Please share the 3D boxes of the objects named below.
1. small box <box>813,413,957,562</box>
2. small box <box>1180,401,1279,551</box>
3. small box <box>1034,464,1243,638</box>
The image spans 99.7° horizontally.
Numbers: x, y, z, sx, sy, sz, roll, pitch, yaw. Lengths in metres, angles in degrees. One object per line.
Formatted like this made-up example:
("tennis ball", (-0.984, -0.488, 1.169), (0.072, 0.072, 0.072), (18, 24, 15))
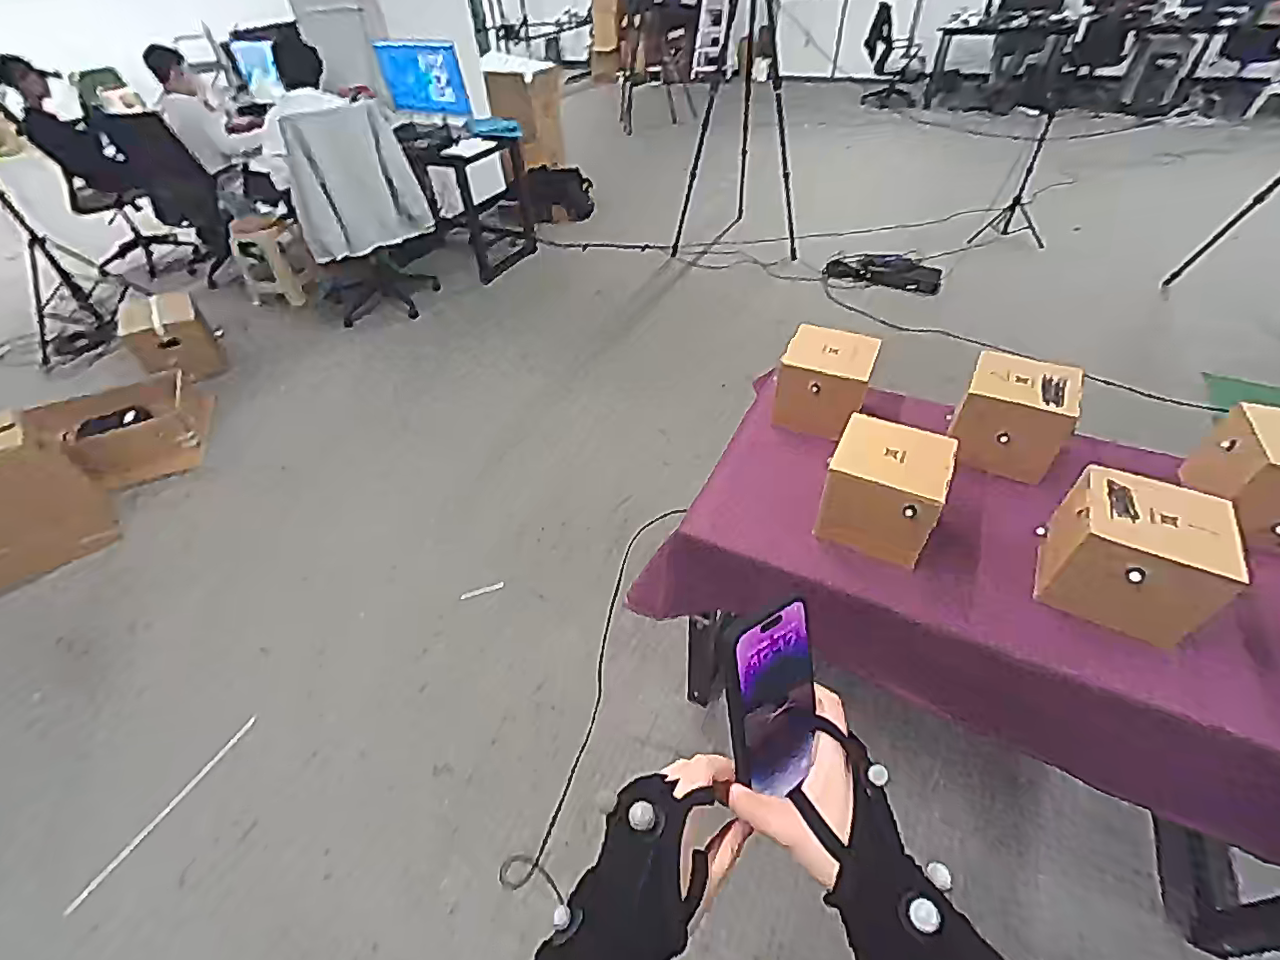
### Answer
("small box", (0.419, 0.014, 0.943), (0.179, 0.176, 0.168), (21, 49, 22))
("small box", (1.073, -0.003, 0.913), (0.168, 0.176, 0.179), (16, 48, 20))
("small box", (0.737, 0.110, 0.822), (0.179, 0.176, 0.168), (22, 50, 23))
